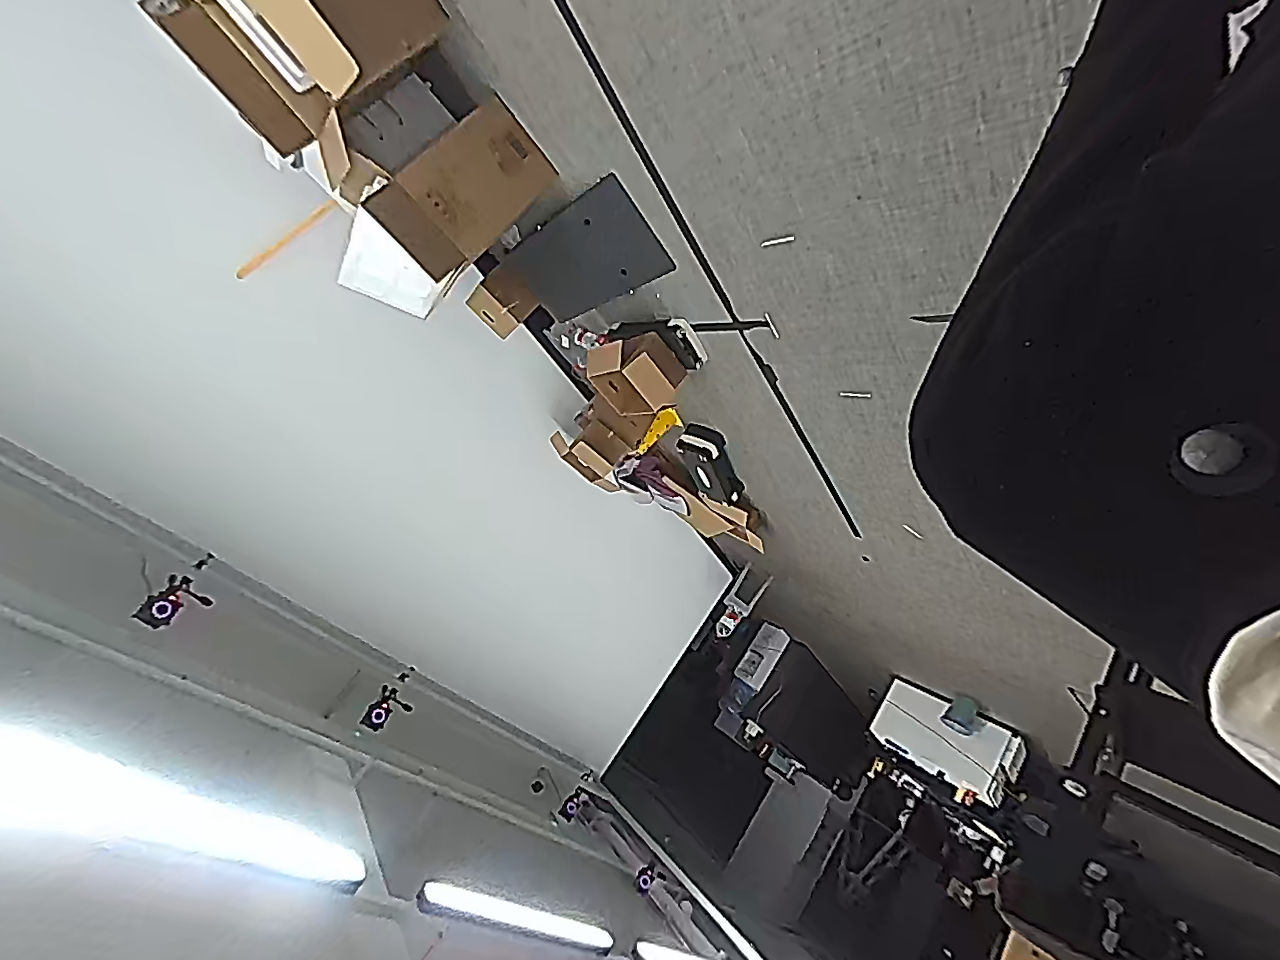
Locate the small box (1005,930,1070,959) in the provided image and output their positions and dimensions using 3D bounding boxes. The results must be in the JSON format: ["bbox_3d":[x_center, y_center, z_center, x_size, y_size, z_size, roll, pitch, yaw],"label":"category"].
[{"bbox_3d":[1.098,1.361,1.457,0.179,0.176,0.168,41,164,-31],"label":"small box"}]
